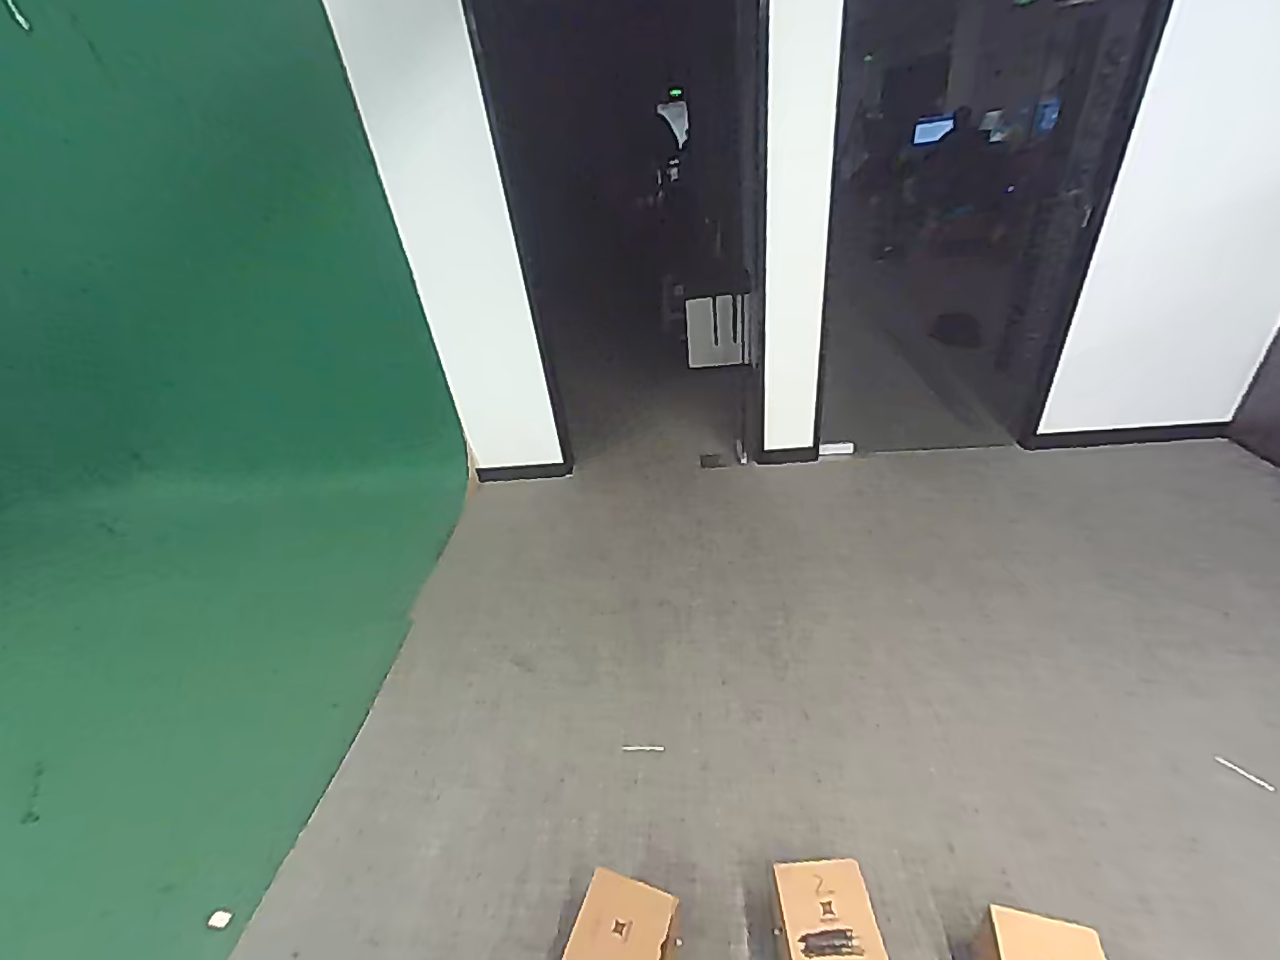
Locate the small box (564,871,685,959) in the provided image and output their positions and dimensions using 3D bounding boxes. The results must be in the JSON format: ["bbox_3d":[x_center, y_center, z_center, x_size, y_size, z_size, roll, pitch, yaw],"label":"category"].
[{"bbox_3d":[-0.021,0.902,1.036,0.179,0.176,0.168,2,33,22],"label":"small box"}]

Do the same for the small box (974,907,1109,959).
[{"bbox_3d":[0.696,0.887,0.924,0.168,0.176,0.179,4,34,16],"label":"small box"}]
